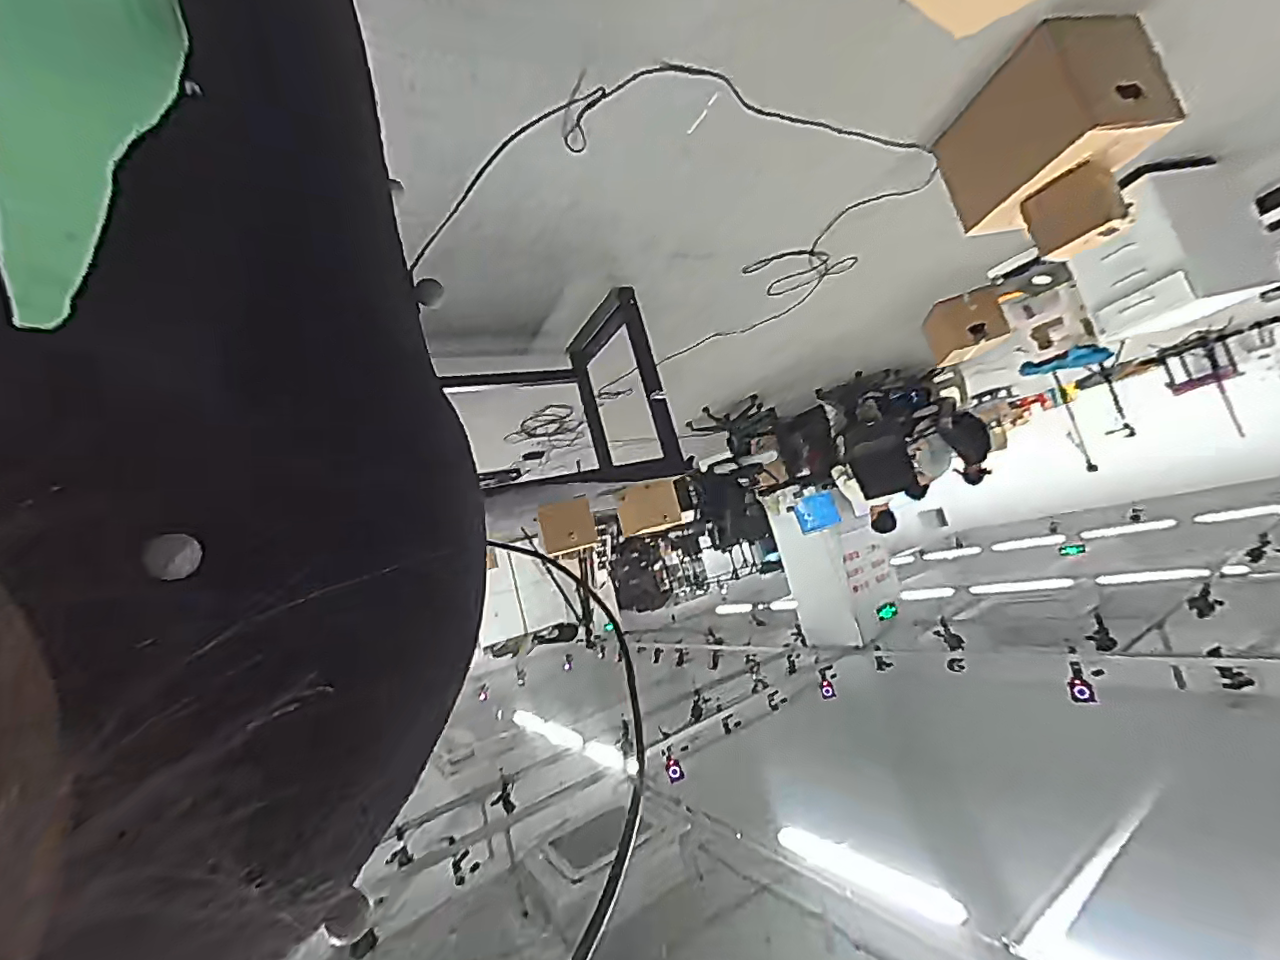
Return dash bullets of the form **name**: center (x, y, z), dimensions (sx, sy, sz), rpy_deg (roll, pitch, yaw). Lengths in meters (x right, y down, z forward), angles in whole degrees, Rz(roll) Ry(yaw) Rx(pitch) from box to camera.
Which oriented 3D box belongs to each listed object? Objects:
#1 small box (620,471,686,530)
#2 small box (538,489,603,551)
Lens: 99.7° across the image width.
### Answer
- **small box**: center (0.039, 0.073, 1.948), dimensions (0.168, 0.176, 0.179), rpy_deg (-12, 172, -26)
- **small box**: center (-0.241, 0.137, 1.850), dimensions (0.179, 0.176, 0.168), rpy_deg (-13, 172, -15)
